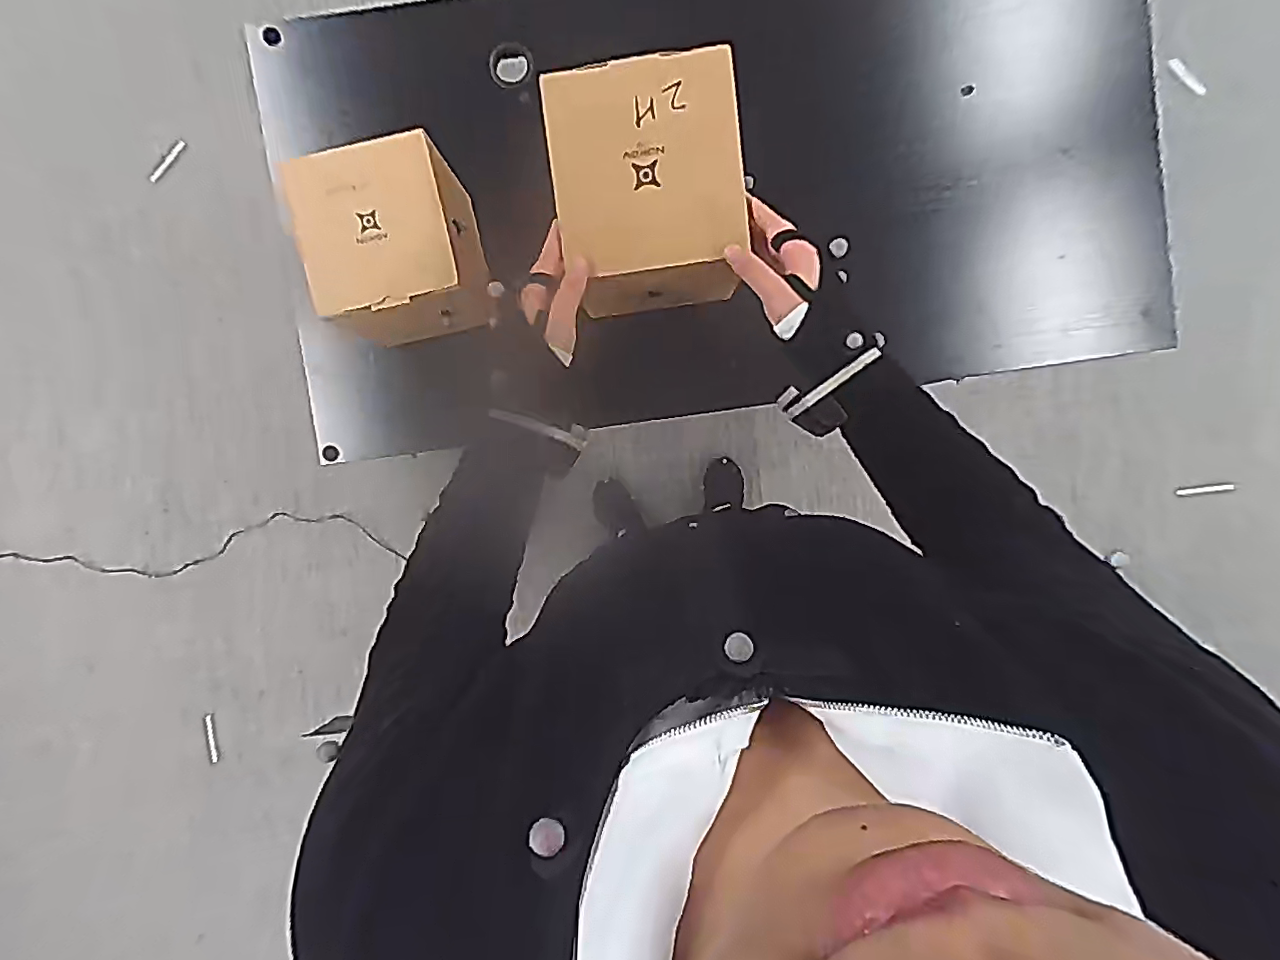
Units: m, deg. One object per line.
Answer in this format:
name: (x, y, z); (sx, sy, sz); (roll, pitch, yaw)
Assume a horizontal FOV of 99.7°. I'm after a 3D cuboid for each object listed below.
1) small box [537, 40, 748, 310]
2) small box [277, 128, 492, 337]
small box: (0.008, -0.275, 0.536); (0.168, 0.176, 0.179); (-7, 95, 4)
small box: (-0.298, -0.286, 0.672); (0.168, 0.176, 0.179); (-13, 93, 0)
